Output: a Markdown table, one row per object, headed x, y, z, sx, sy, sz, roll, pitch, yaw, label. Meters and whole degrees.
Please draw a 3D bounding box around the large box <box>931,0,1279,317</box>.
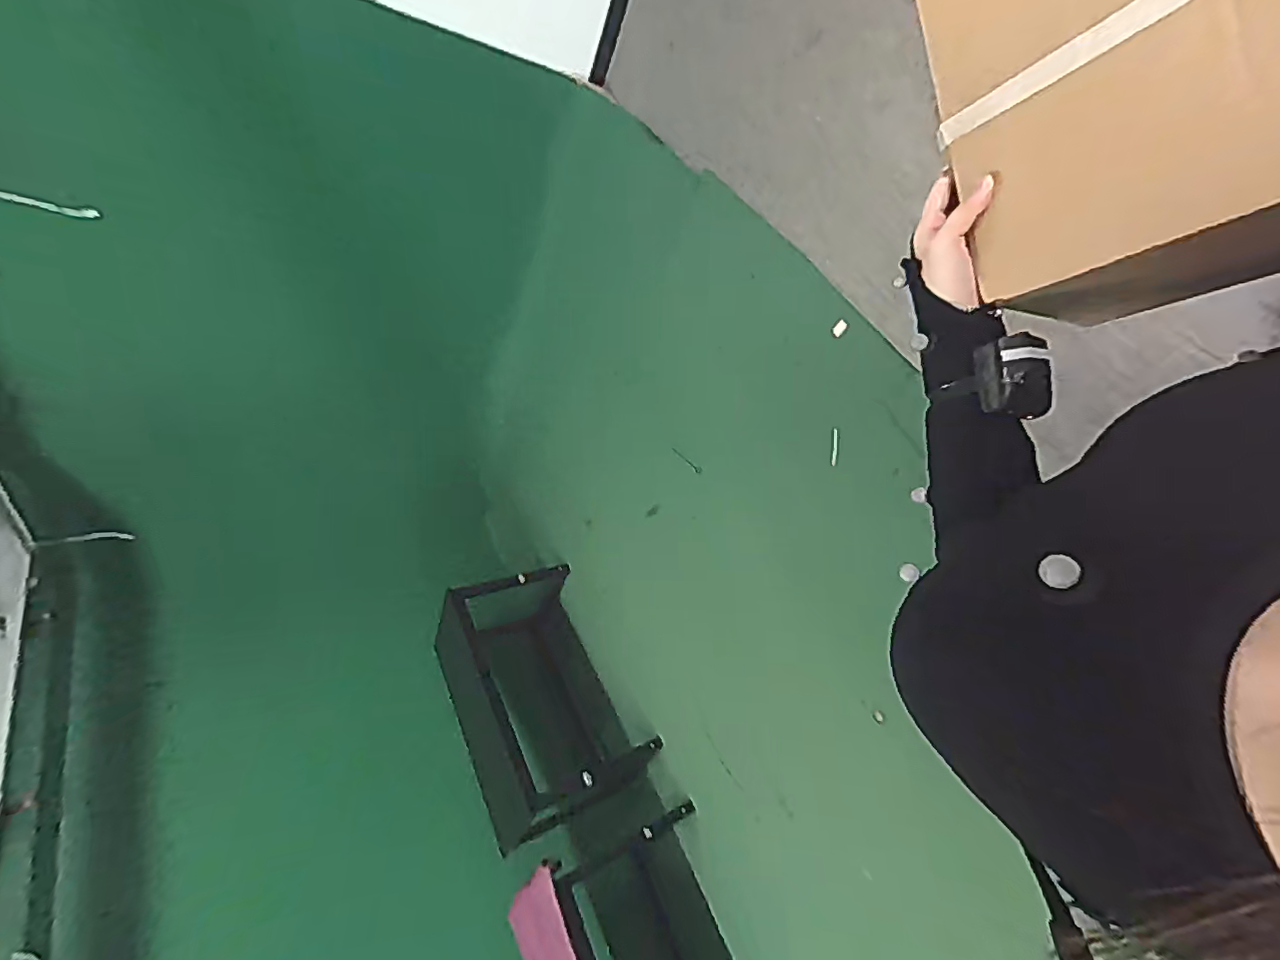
| x | y | z | sx | sy | sz | roll | pitch | yaw | label |
| --- | --- | --- | --- | --- | --- | --- | --- | --- | --- |
| 0.510 | -0.357 | 0.409 | 0.408 | 0.320 | 0.320 | -13 | 86 | 50 | large box |
